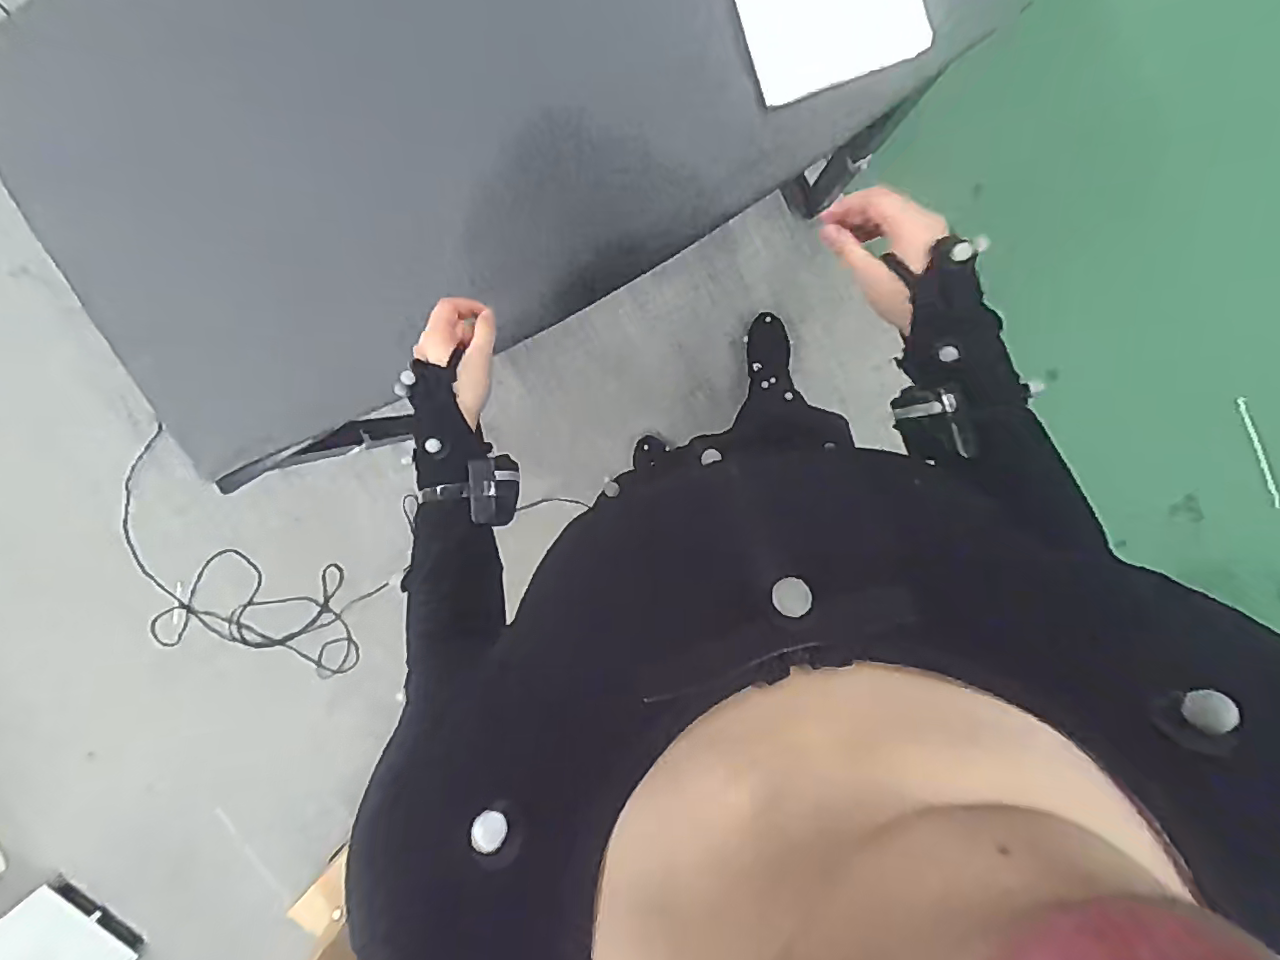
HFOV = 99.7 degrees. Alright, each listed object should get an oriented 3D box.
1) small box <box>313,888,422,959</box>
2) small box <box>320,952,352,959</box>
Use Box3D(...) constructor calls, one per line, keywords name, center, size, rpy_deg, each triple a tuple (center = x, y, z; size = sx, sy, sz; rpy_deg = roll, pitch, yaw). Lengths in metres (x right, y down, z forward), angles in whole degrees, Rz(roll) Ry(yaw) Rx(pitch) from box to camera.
Box3D(name="small box", center=(-0.679, 1.170, 1.334), size=(0.179, 0.176, 0.168), rpy_deg=(43, 98, -4))
Box3D(name="small box", center=(-0.698, 1.186, 1.173), size=(0.179, 0.176, 0.168), rpy_deg=(43, 98, -5))
